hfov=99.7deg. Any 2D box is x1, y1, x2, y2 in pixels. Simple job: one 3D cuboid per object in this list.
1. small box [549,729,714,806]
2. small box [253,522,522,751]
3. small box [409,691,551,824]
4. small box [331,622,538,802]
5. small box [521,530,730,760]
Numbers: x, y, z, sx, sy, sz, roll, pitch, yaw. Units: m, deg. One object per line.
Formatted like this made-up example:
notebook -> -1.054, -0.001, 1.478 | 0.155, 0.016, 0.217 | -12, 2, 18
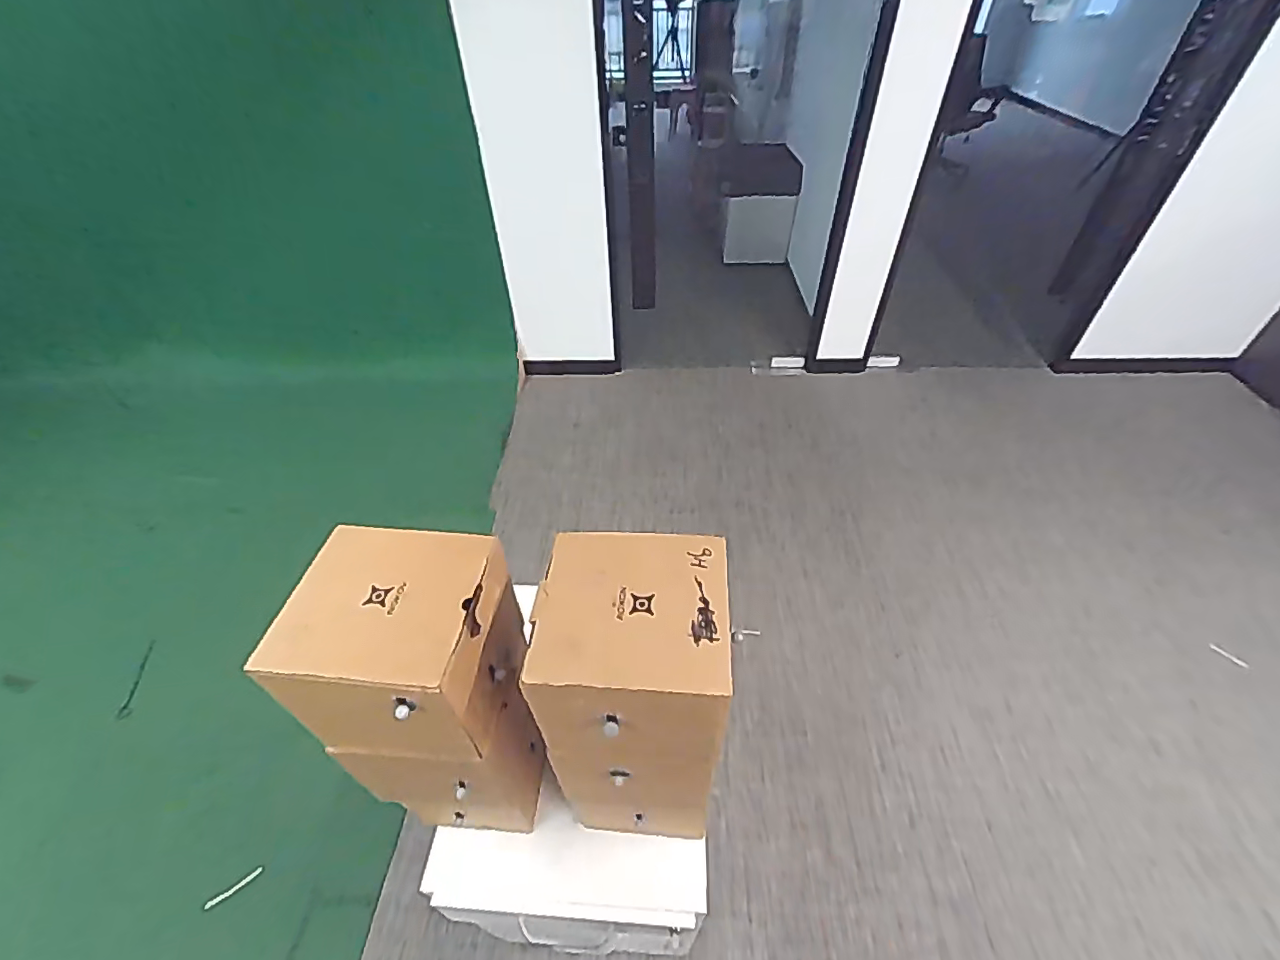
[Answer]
small box -> 0.002, 0.283, 0.666 | 0.179, 0.176, 0.168 | 2, 45, 6
small box -> -0.236, 0.164, 0.563 | 0.179, 0.176, 0.168 | 4, 44, 4
small box -> -0.231, 0.388, 0.799 | 0.168, 0.176, 0.179 | 4, 45, 2
small box -> -0.233, 0.284, 0.673 | 0.179, 0.176, 0.168 | 2, 44, 3
small box -> -0.001, 0.168, 0.549 | 0.179, 0.176, 0.168 | 0, 45, 6
